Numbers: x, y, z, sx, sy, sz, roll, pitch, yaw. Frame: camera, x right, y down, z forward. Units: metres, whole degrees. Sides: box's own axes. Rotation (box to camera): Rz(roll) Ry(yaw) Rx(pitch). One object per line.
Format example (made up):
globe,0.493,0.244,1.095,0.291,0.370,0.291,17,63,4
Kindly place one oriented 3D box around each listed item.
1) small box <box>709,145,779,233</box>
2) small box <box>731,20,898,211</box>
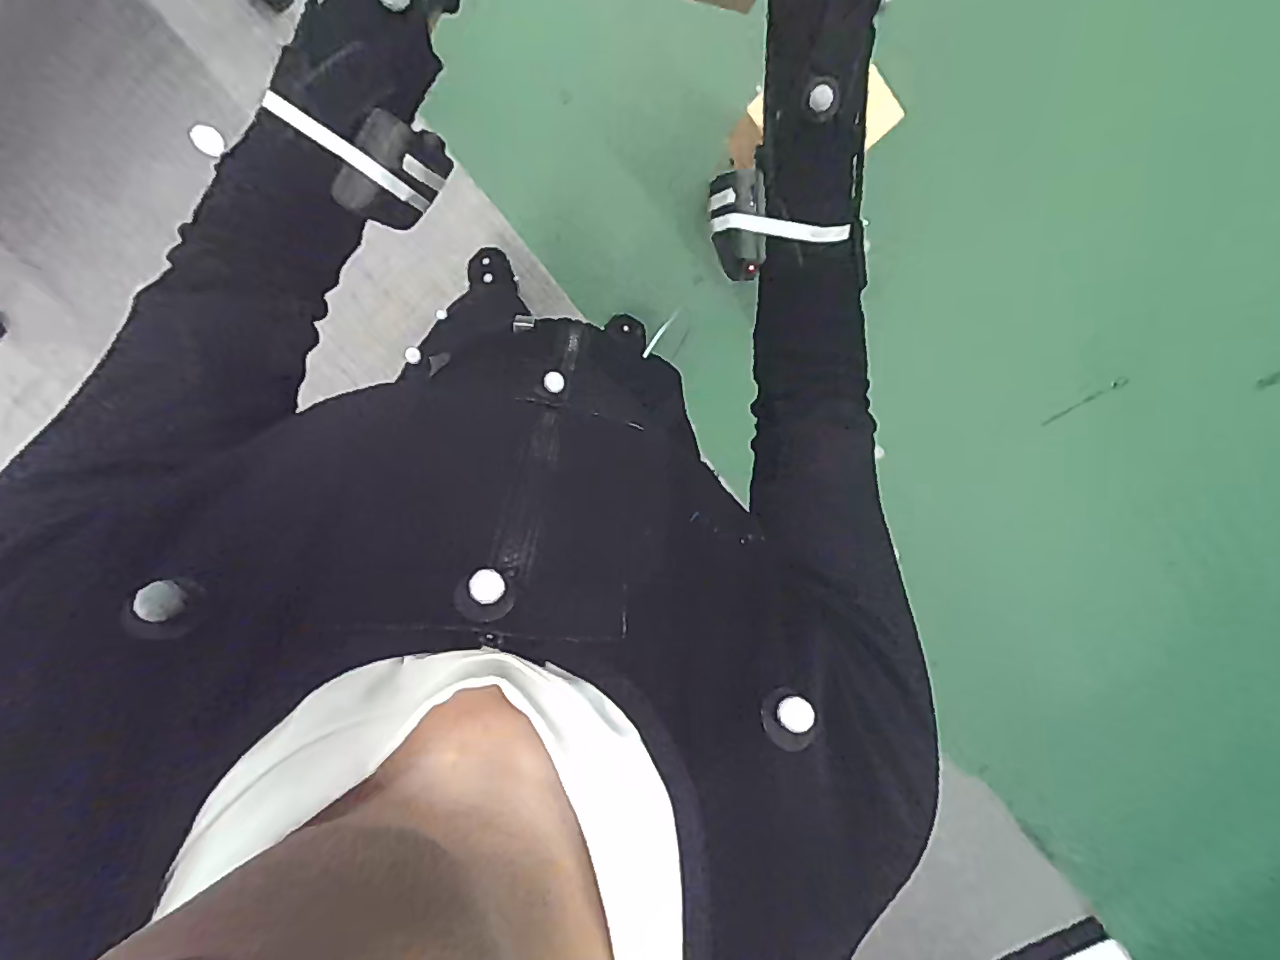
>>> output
small box,0.267,-0.674,1.195,0.179,0.176,0.168,-36,106,11
small box,0.271,-0.575,0.883,0.179,0.176,0.168,-39,105,12
